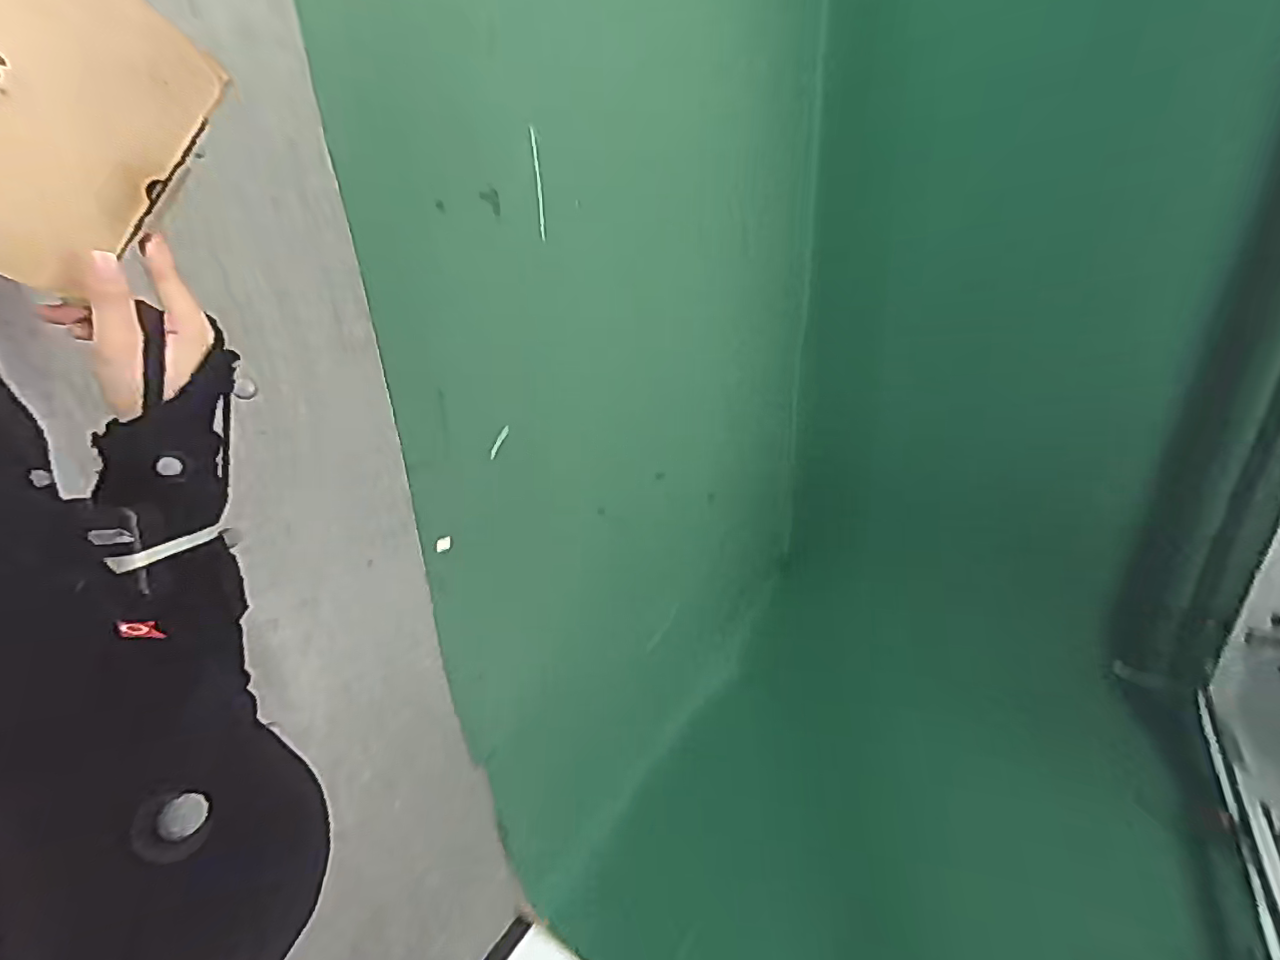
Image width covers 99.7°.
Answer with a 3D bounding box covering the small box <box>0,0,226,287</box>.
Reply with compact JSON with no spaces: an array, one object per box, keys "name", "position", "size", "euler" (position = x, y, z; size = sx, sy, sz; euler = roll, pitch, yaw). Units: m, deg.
[{"name":"small box","position":[-0.377,-0.240,0.291],"size":[0.168,0.176,0.179],"euler":[-58,143,1]}]
